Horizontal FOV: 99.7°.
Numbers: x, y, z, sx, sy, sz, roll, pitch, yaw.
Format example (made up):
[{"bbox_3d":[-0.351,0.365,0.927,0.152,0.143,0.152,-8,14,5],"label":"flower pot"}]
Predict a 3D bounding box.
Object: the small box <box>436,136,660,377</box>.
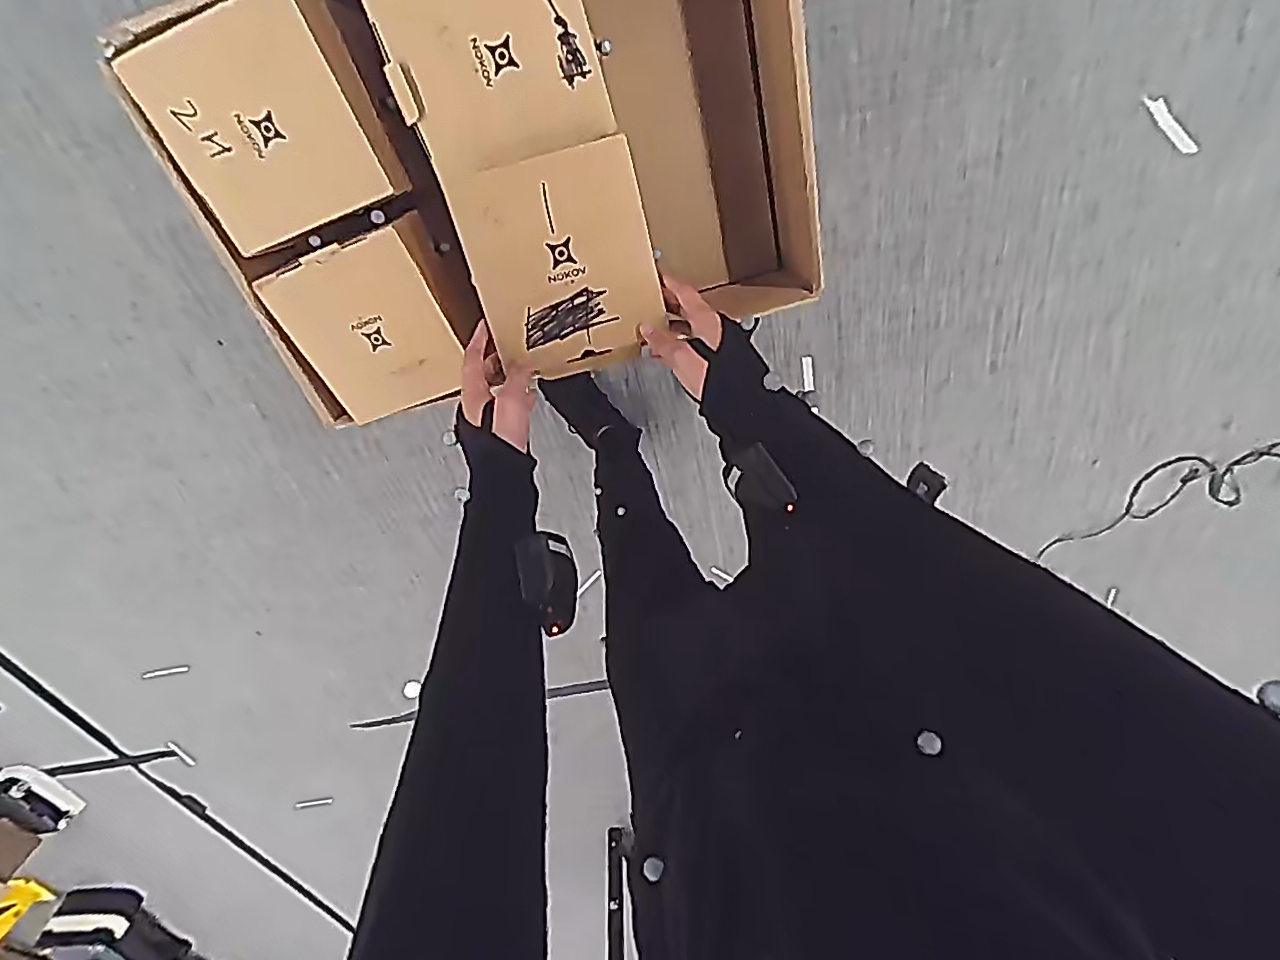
[{"bbox_3d":[-0.082,-0.221,0.562,0.168,0.176,0.179,-15,109,0],"label":"small box"}]
